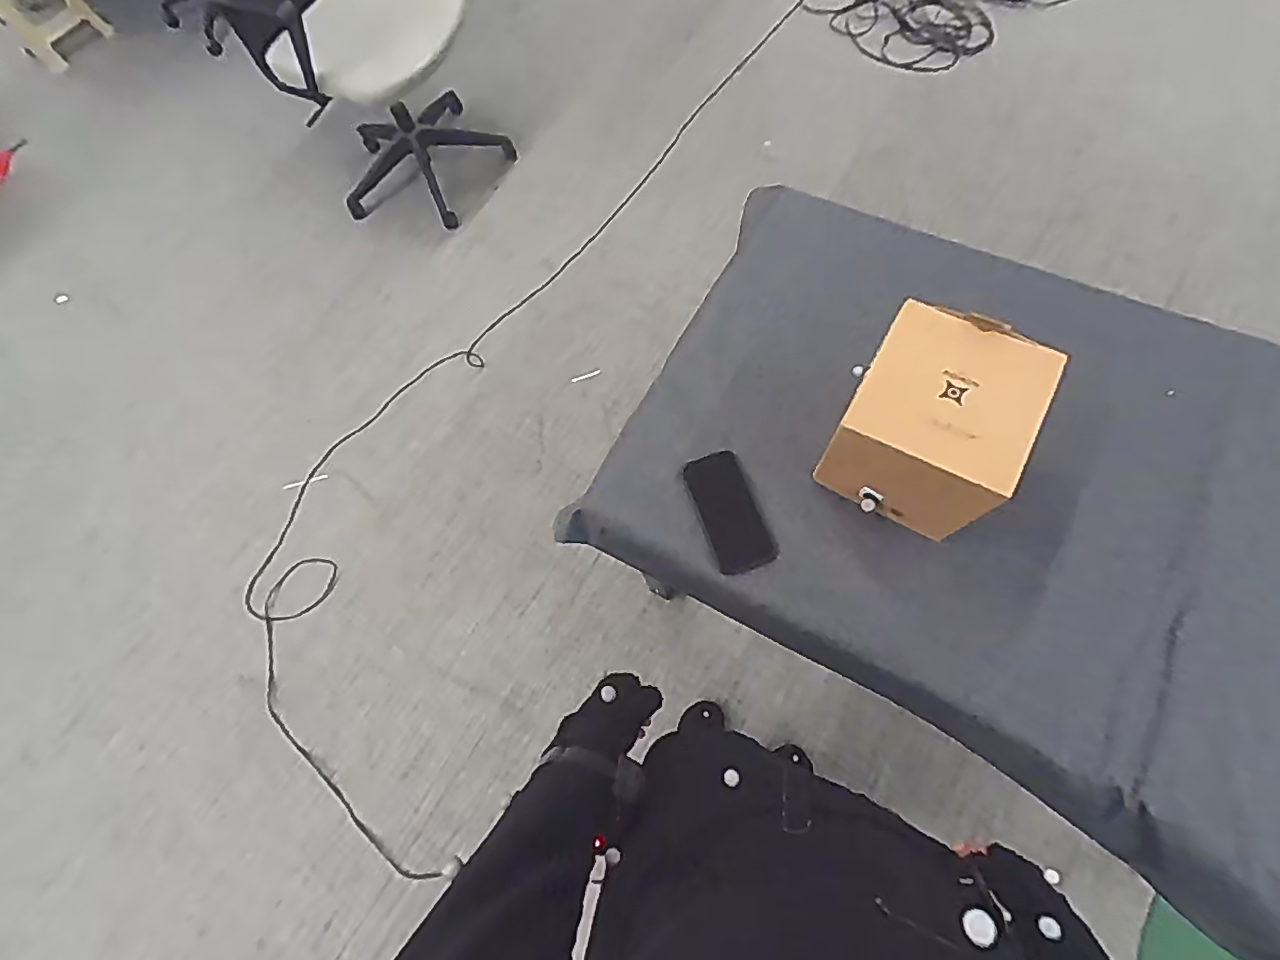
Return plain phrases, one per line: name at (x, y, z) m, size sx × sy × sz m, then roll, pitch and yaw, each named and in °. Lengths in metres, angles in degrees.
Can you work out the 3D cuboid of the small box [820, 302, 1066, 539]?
small box at (0.323, -0.058, 0.613) m, size 0.168 × 0.176 × 0.179 m, roll 27°, pitch 76°, yaw 17°
